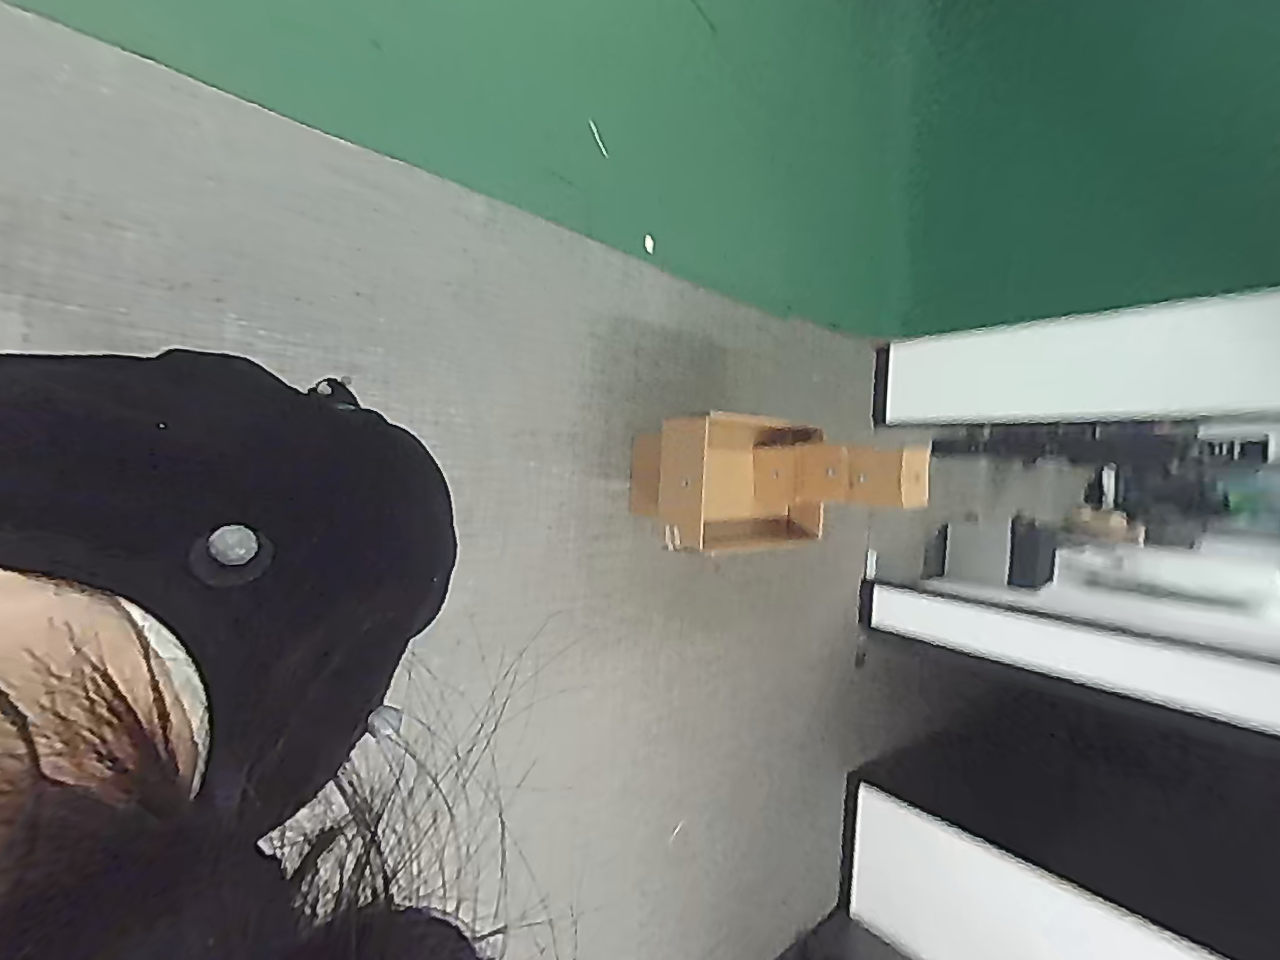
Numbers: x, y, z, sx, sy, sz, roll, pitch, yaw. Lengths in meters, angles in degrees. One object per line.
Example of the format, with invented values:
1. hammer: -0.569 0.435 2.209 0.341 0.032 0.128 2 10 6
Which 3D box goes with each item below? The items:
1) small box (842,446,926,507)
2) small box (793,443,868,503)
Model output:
1. small box: 0.710 -0.014 1.574 0.179 0.176 0.168 -3 93 -40
2. small box: 0.594 -0.027 1.692 0.168 0.176 0.179 -6 95 -40
